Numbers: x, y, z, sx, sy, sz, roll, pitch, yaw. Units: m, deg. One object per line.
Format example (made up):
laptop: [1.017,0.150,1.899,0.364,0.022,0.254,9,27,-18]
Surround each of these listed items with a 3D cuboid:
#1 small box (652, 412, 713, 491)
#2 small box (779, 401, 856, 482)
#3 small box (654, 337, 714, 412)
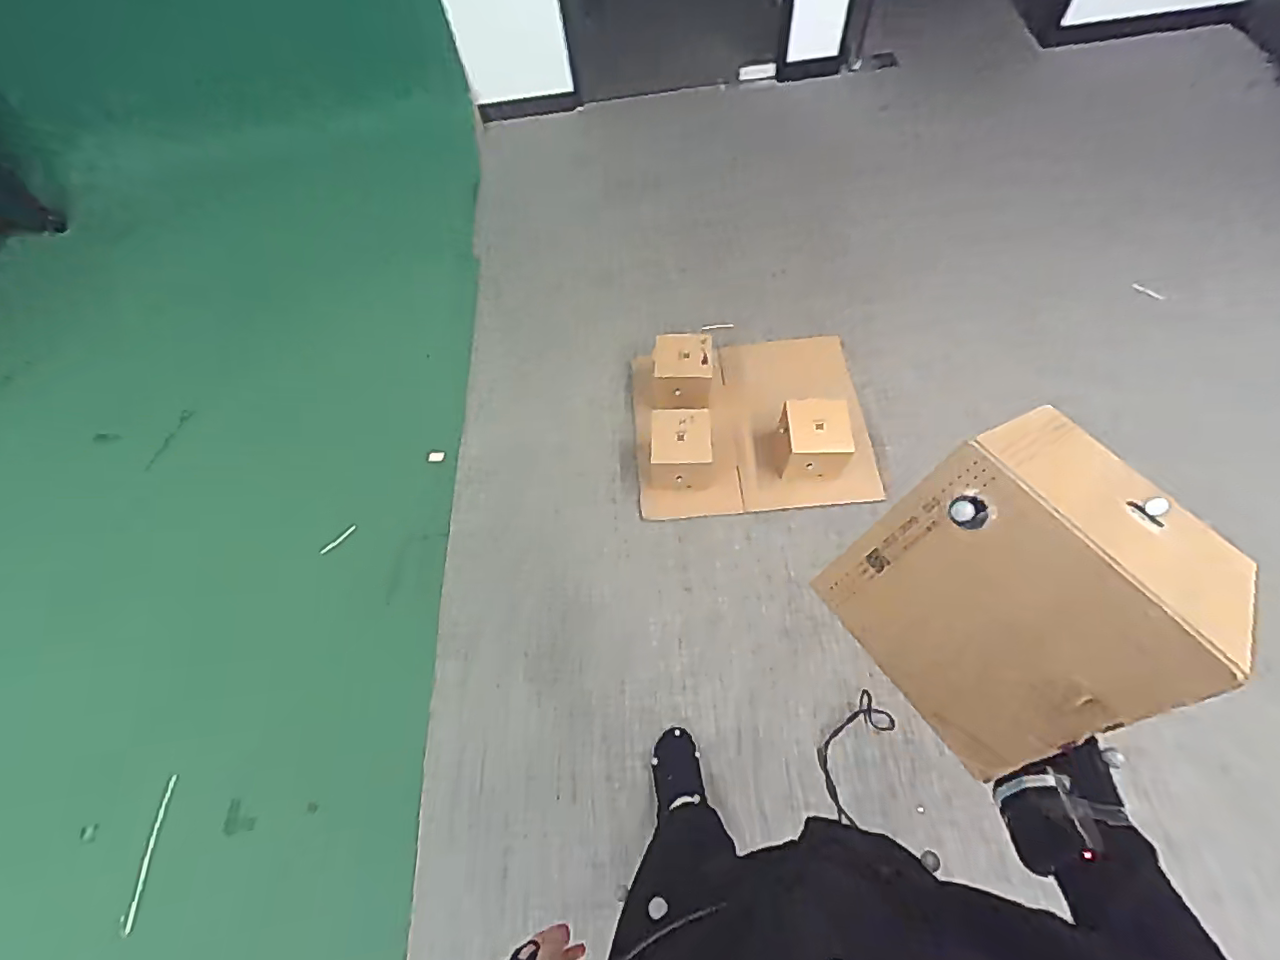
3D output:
small box: [0.125,-0.076,1.550,0.168,0.176,0.179,0,62,4]
small box: [0.494,-0.103,1.528,0.168,0.176,0.179,-1,62,4]
small box: [0.140,-0.323,1.677,0.179,0.176,0.168,1,63,6]
